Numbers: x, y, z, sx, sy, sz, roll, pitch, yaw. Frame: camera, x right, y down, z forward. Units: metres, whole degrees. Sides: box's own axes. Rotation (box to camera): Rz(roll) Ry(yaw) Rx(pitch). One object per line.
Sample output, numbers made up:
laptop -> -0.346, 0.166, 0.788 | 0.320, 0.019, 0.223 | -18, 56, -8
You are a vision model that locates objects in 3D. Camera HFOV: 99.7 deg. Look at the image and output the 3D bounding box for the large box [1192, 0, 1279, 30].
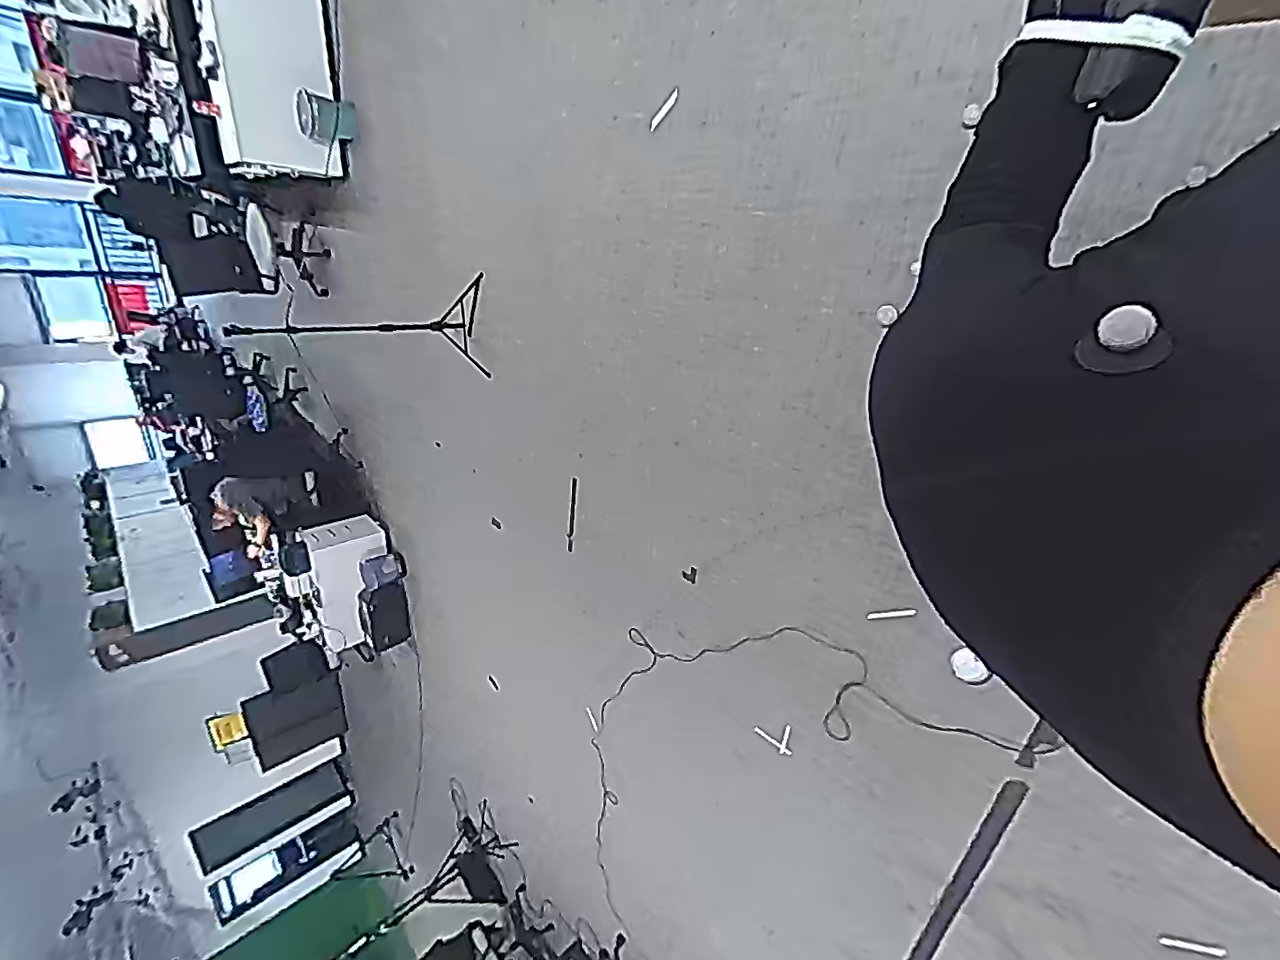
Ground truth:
large box -> 0.552, -0.427, 0.215 | 0.408, 0.320, 0.320 | 23, 130, 36
